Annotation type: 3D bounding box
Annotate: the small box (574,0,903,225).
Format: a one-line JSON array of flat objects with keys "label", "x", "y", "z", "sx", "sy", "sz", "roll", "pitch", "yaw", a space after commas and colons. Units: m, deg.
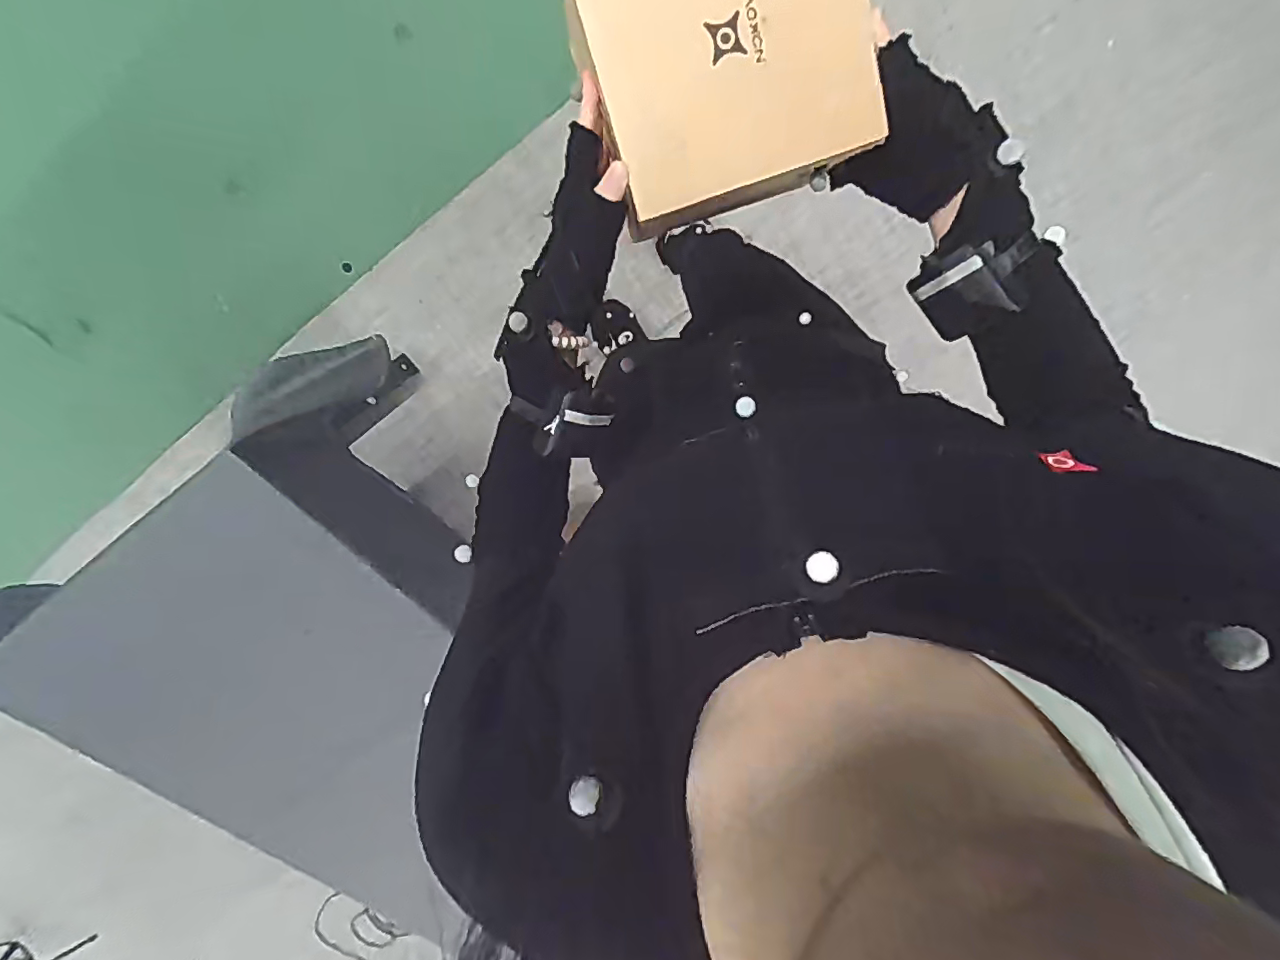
[{"label": "small box", "x": 0.055, "y": -0.302, "z": 0.393, "sx": 0.179, "sy": 0.176, "sz": 0.168, "roll": -19, "pitch": 109, "yaw": 1}]
